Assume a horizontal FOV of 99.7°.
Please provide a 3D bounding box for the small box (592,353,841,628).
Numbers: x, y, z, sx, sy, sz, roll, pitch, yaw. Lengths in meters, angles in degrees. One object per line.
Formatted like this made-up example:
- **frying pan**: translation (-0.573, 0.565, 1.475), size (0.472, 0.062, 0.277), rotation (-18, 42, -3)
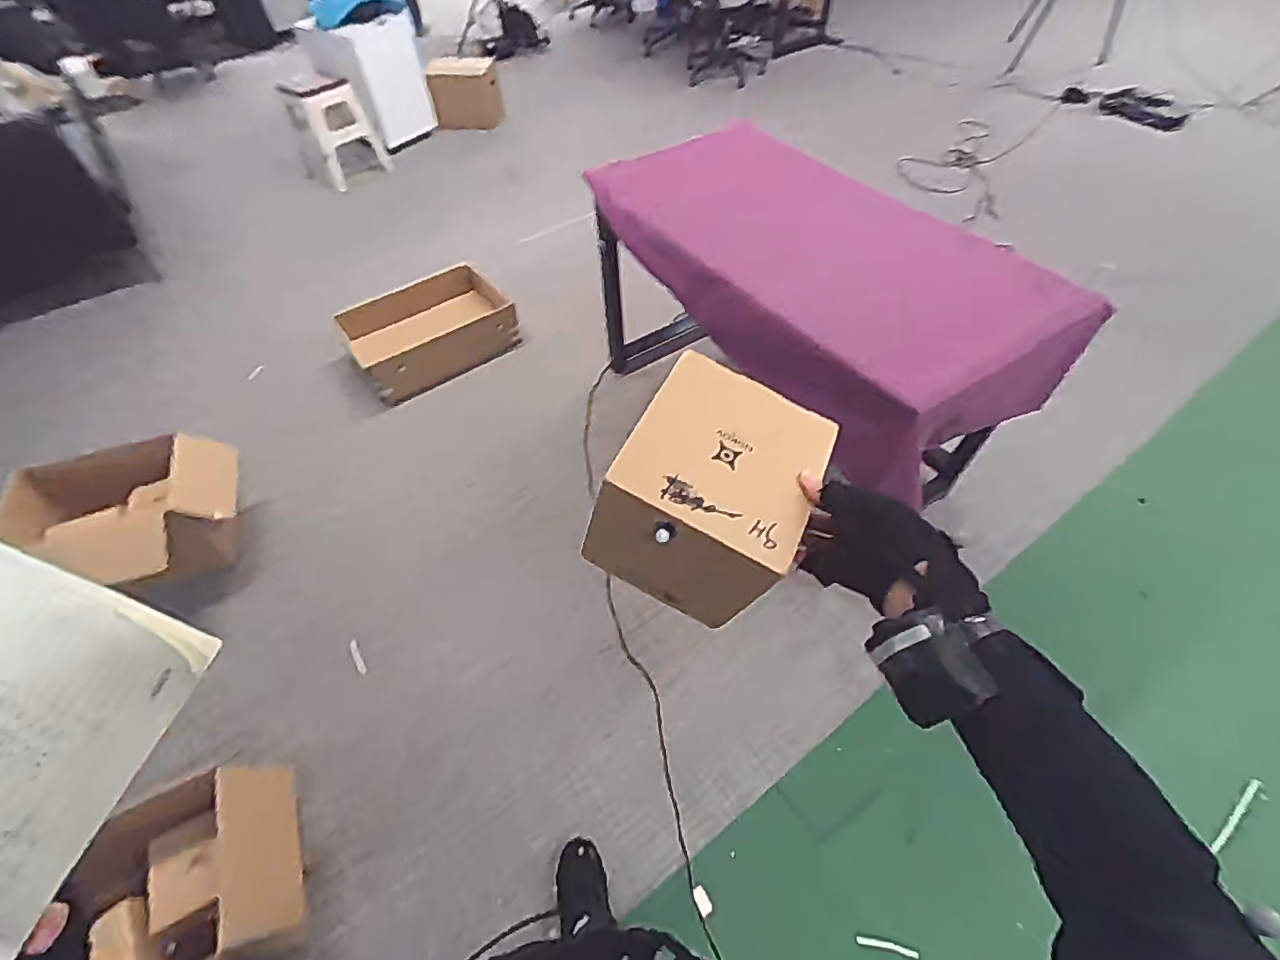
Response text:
- **small box**: translation (0.066, 0.016, 0.538), size (0.168, 0.176, 0.179), rotation (29, 57, 4)
